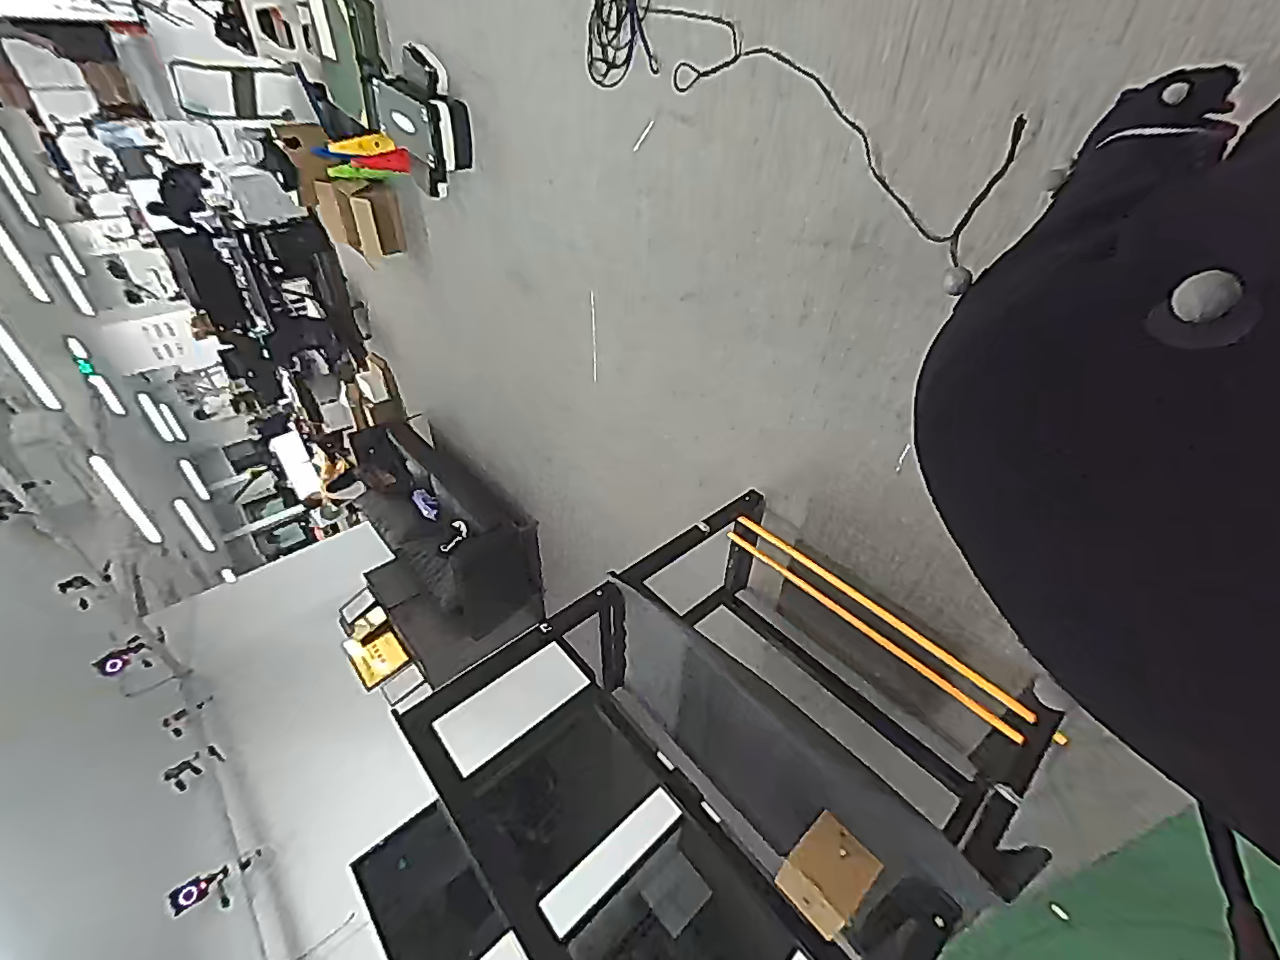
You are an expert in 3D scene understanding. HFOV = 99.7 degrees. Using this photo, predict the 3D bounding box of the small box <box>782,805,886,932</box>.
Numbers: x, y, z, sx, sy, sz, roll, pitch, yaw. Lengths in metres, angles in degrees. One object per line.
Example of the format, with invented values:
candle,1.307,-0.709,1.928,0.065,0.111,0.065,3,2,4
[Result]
small box,0.482,0.962,1.348,0.168,0.176,0.179,36,140,35
